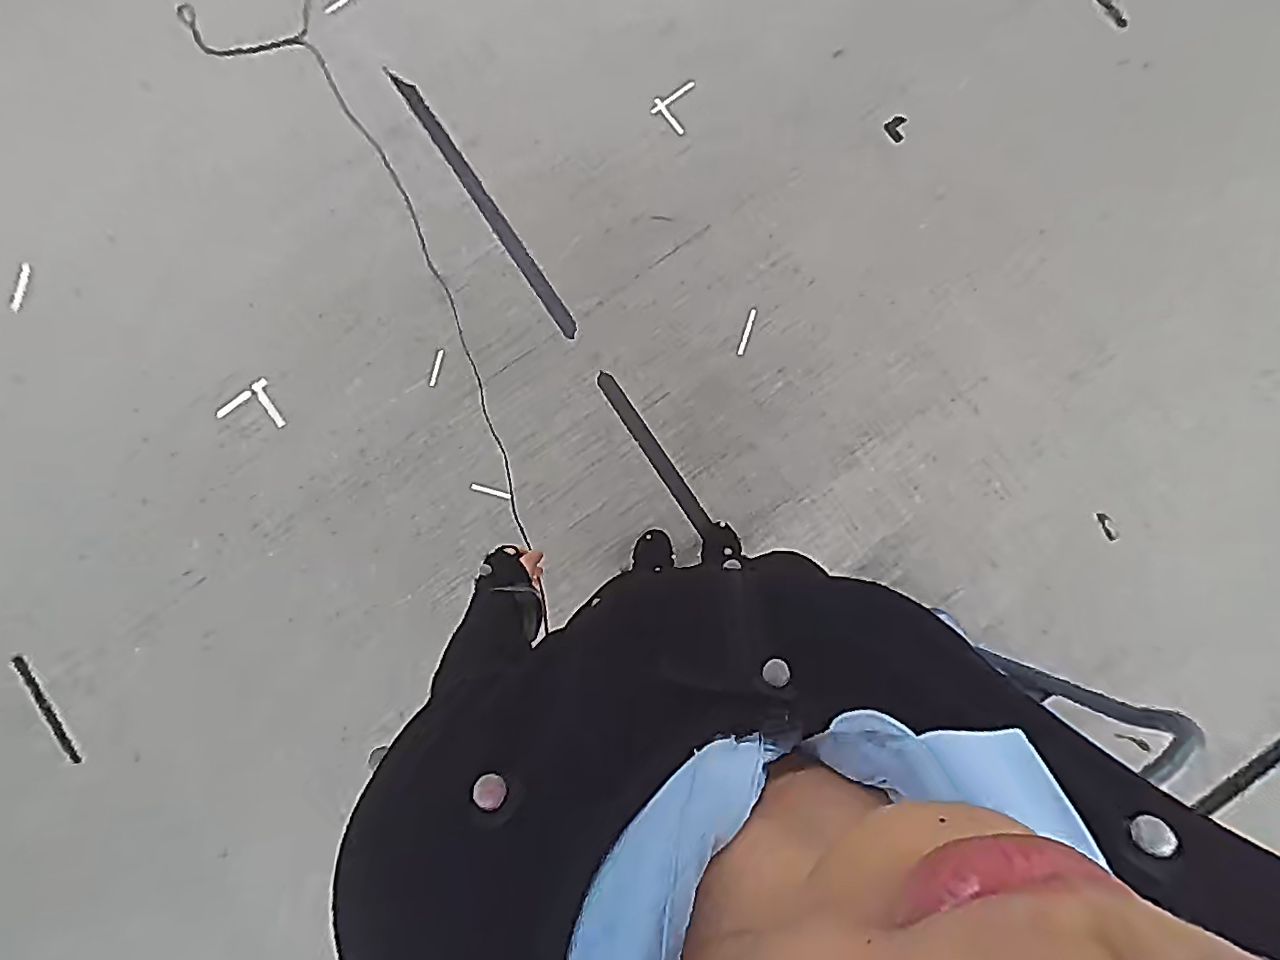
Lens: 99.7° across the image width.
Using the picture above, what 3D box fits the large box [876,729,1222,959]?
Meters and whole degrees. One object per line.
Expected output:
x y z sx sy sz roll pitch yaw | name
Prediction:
0.784 0.807 1.105 0.408 0.320 0.320 -38 86 -2 | large box
